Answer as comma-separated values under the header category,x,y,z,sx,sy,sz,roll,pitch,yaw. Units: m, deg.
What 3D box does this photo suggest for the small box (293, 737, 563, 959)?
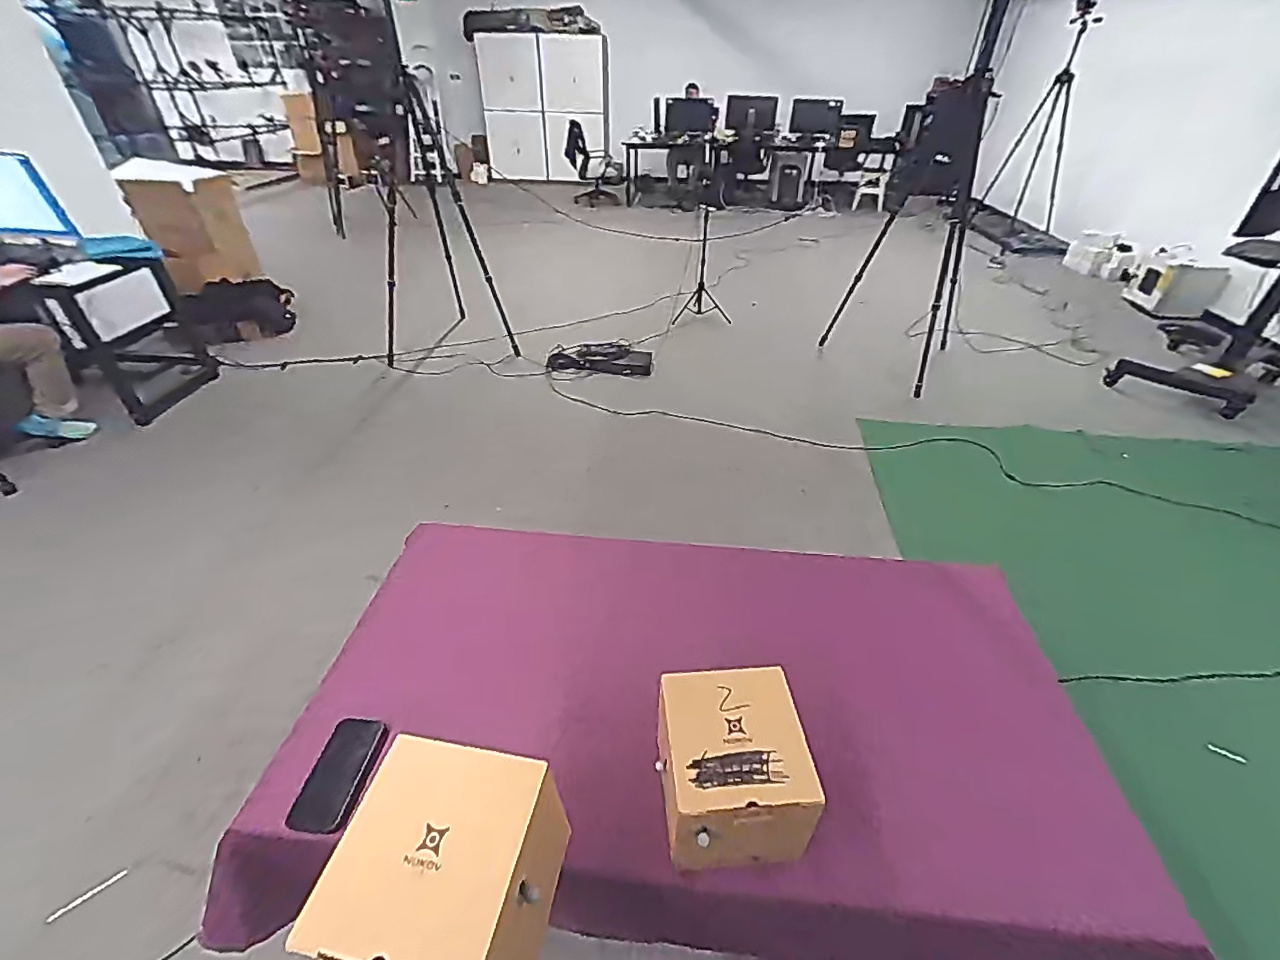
category,x,y,z,sx,sy,sz,roll,pitch,yaw
small box,-0.182,0.391,0.533,0.168,0.176,0.179,5,40,11
